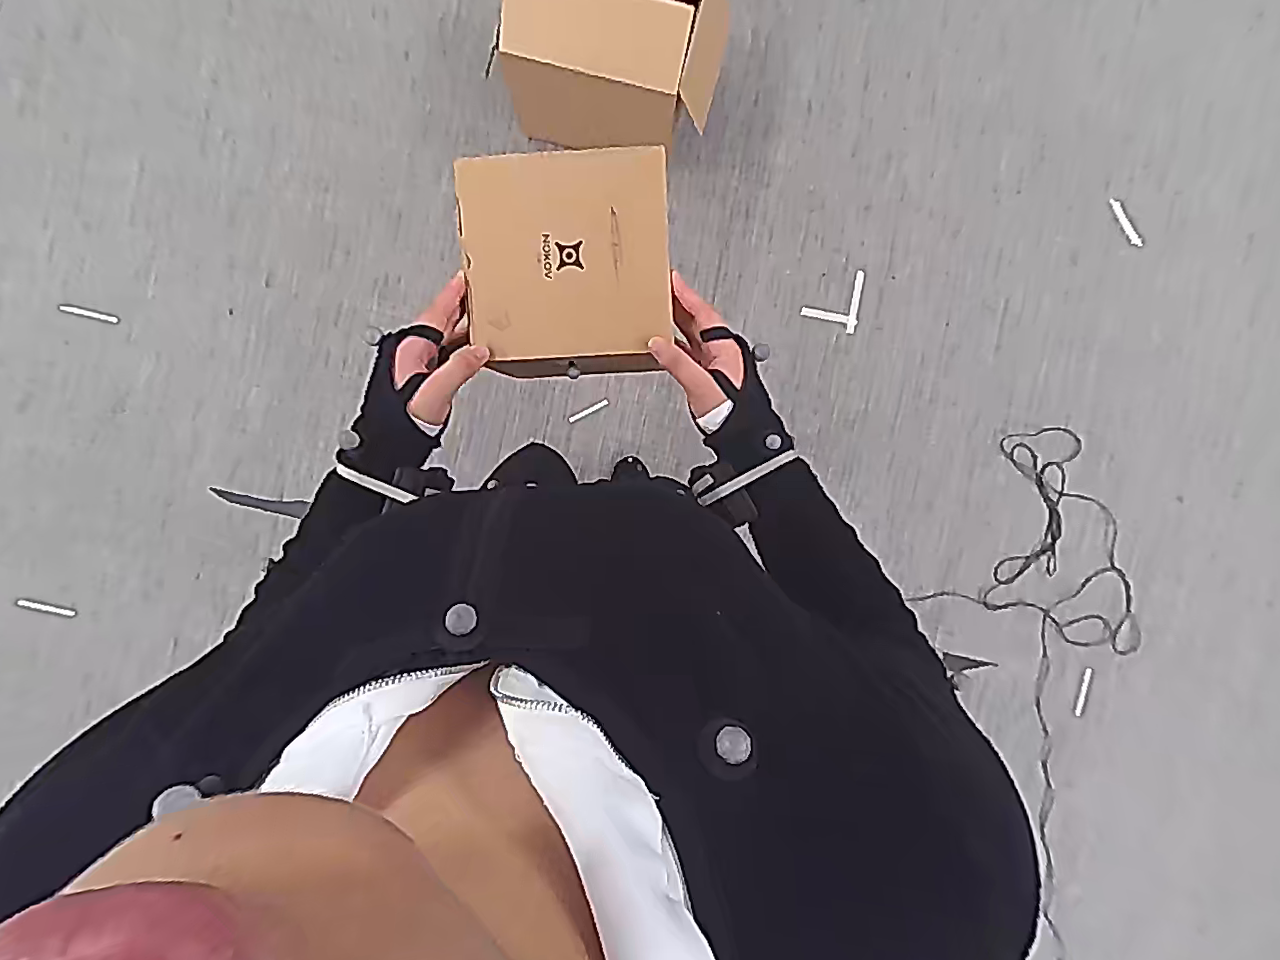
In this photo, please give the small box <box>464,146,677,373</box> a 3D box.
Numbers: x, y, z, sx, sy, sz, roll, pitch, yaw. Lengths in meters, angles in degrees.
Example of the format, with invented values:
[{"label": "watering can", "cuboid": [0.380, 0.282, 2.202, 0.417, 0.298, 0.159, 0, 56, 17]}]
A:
[{"label": "small box", "cuboid": [-0.057, -0.201, 0.539, 0.179, 0.176, 0.168, -4, 96, 0]}]
